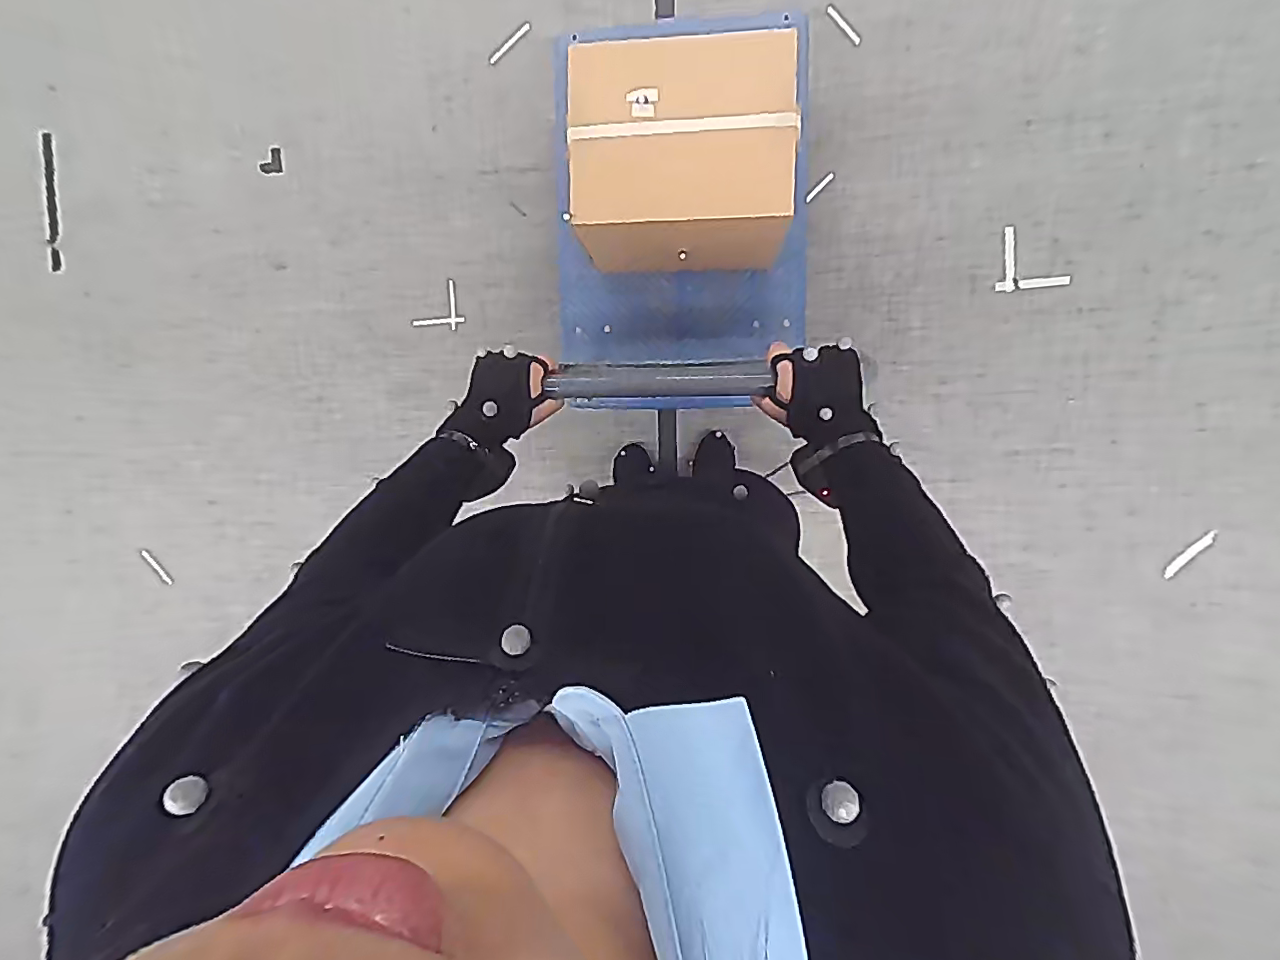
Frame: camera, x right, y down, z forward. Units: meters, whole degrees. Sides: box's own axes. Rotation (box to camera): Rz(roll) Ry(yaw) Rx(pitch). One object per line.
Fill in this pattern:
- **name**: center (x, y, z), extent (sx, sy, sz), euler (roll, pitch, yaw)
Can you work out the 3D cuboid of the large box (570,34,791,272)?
- **large box**: center (0.090, -0.640, 1.129), extent (0.408, 0.320, 0.320), euler (0, 94, 7)
